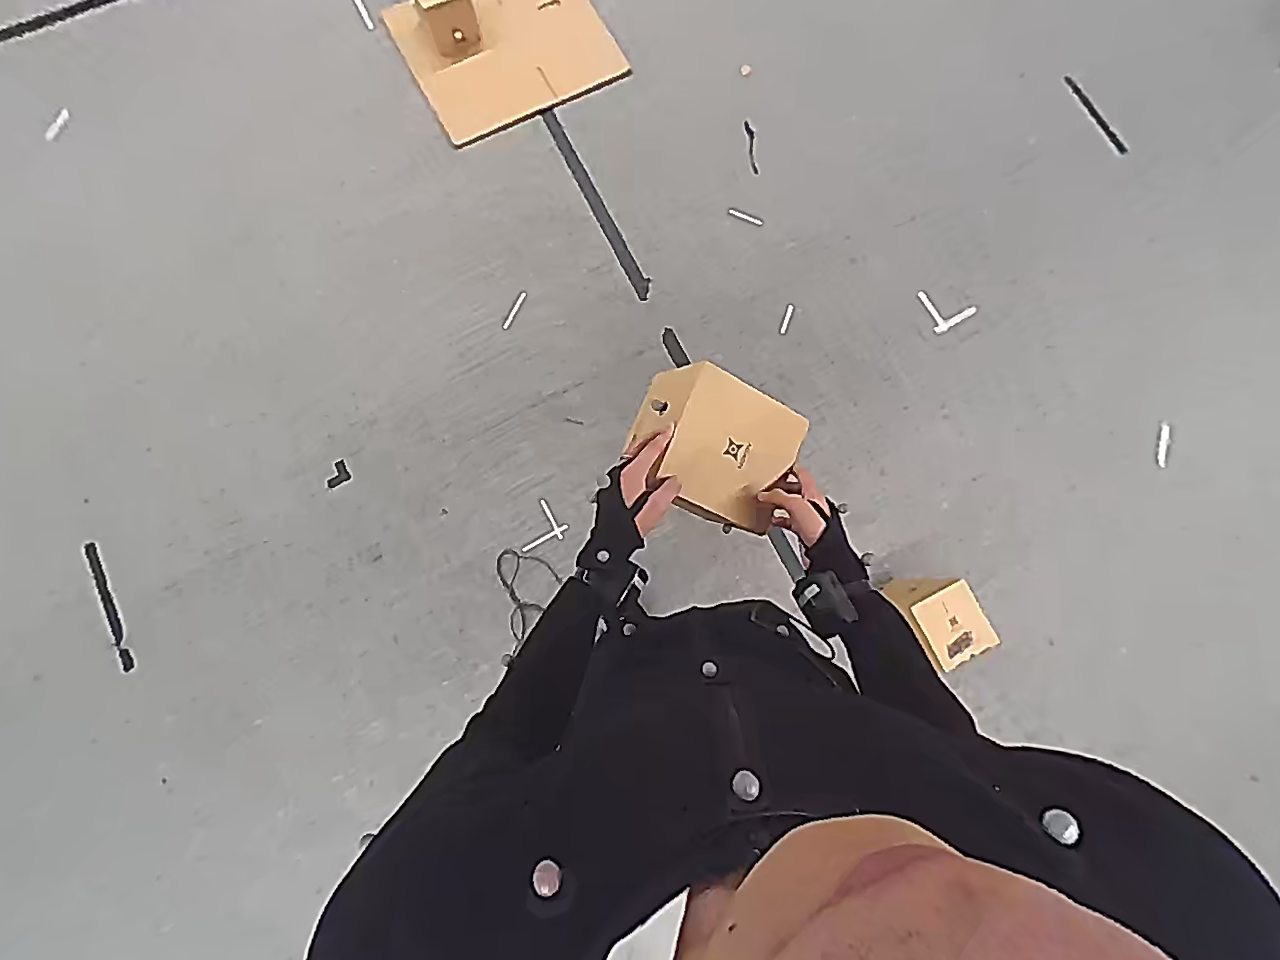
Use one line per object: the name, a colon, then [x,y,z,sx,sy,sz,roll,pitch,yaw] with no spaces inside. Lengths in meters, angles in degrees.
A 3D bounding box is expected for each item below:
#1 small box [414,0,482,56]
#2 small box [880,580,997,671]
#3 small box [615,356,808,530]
small box: [-0.664,-1.610,1.843,0.168,0.176,0.179,-29,83,-6]
small box: [0.772,0.372,1.415,0.168,0.176,0.179,-25,81,-7]
small box: [0.087,-0.047,0.745,0.179,0.176,0.168,25,86,-21]
